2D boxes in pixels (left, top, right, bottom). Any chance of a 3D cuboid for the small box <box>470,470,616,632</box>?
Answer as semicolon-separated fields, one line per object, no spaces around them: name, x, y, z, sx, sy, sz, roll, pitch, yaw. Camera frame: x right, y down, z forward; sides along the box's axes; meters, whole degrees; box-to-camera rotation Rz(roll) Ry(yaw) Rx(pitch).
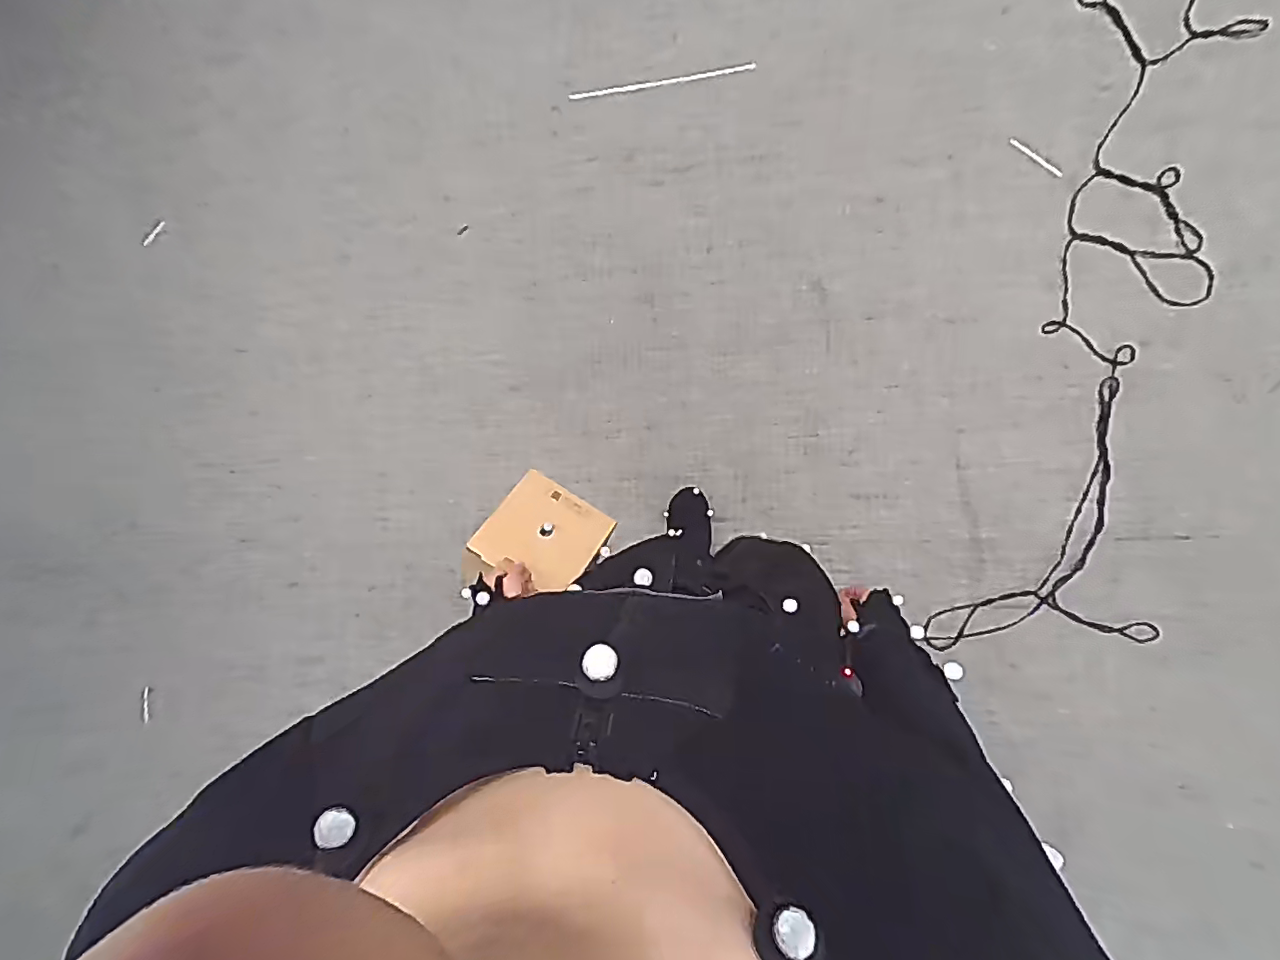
small box;-0.158;0.114;0.886;0.168;0.179;0.176;32;56;3
